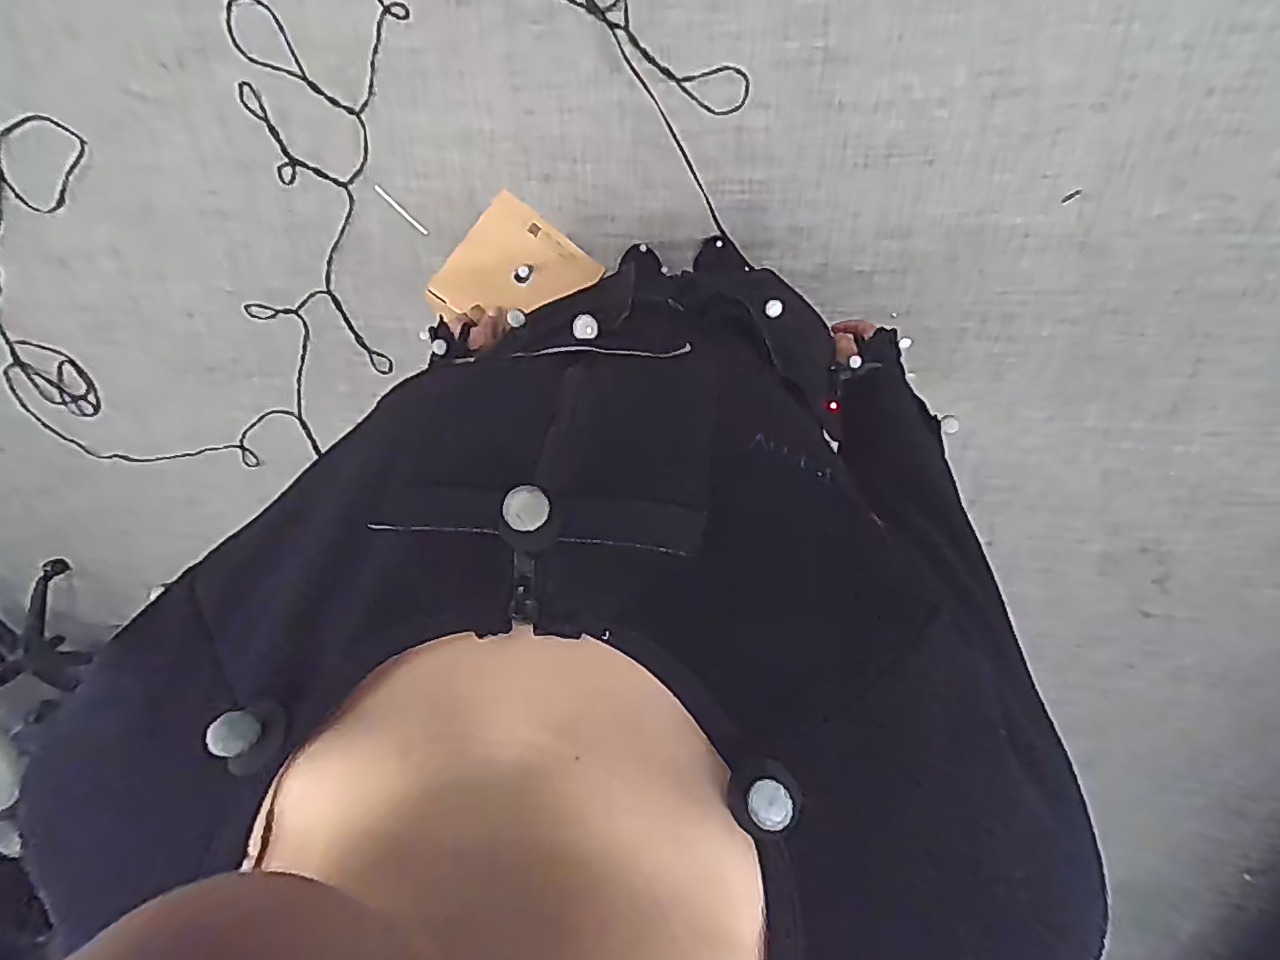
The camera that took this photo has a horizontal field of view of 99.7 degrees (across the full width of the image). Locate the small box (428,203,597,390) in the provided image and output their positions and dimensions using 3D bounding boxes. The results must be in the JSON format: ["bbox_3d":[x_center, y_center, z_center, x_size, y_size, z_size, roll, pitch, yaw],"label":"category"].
[{"bbox_3d":[-0.181,-0.257,0.783,0.168,0.179,0.176,34,82,-14],"label":"small box"}]
